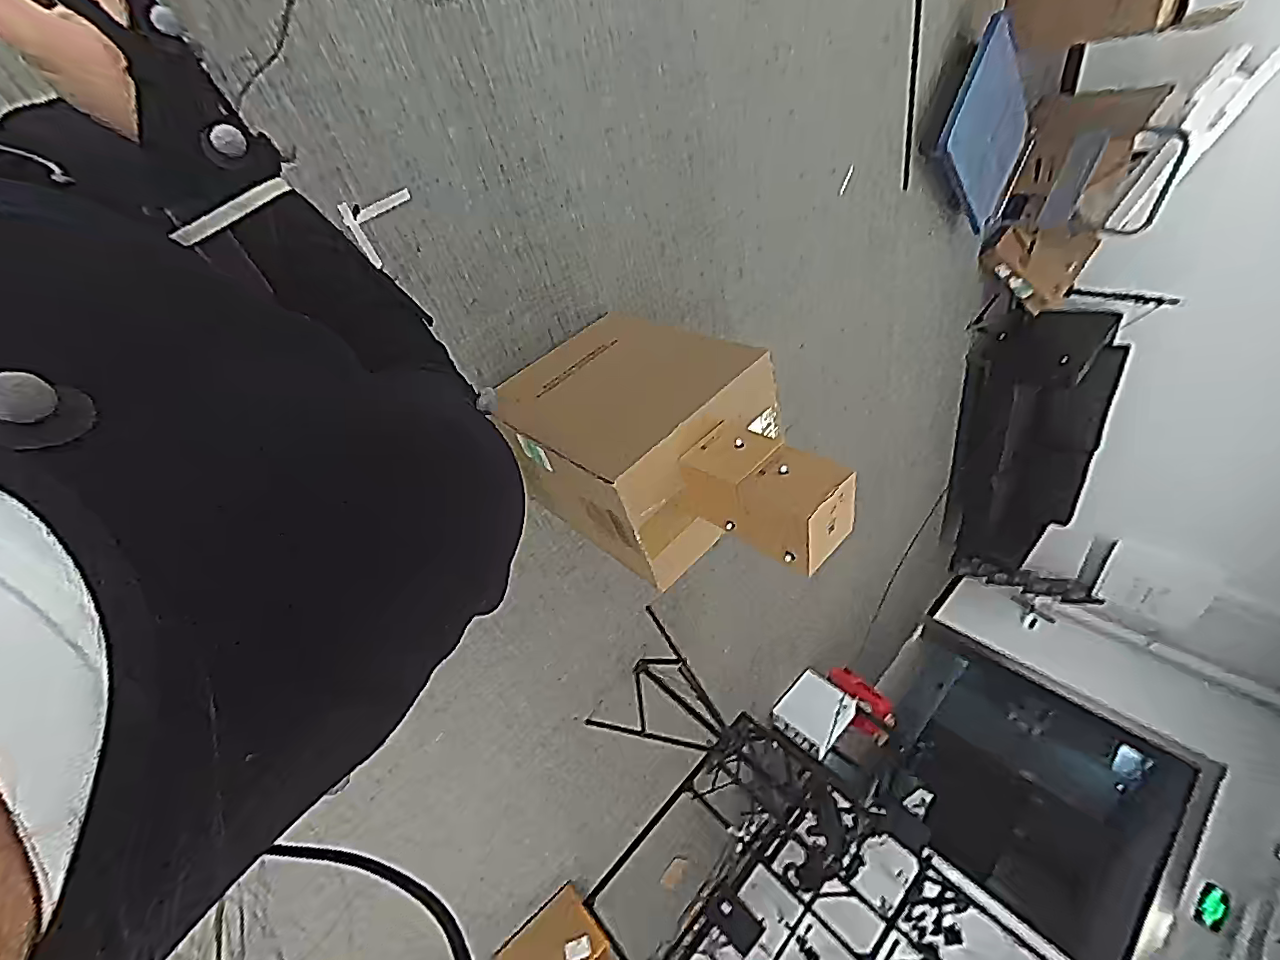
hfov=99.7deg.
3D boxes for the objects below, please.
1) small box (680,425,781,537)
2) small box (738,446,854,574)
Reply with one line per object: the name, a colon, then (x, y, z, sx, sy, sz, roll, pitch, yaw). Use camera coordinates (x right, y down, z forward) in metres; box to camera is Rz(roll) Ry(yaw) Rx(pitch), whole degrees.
small box: (0.210, -0.008, 1.231, 0.168, 0.176, 0.179, -40, 135, -25)
small box: (0.322, 0.056, 1.128, 0.168, 0.176, 0.179, -39, 134, -27)
